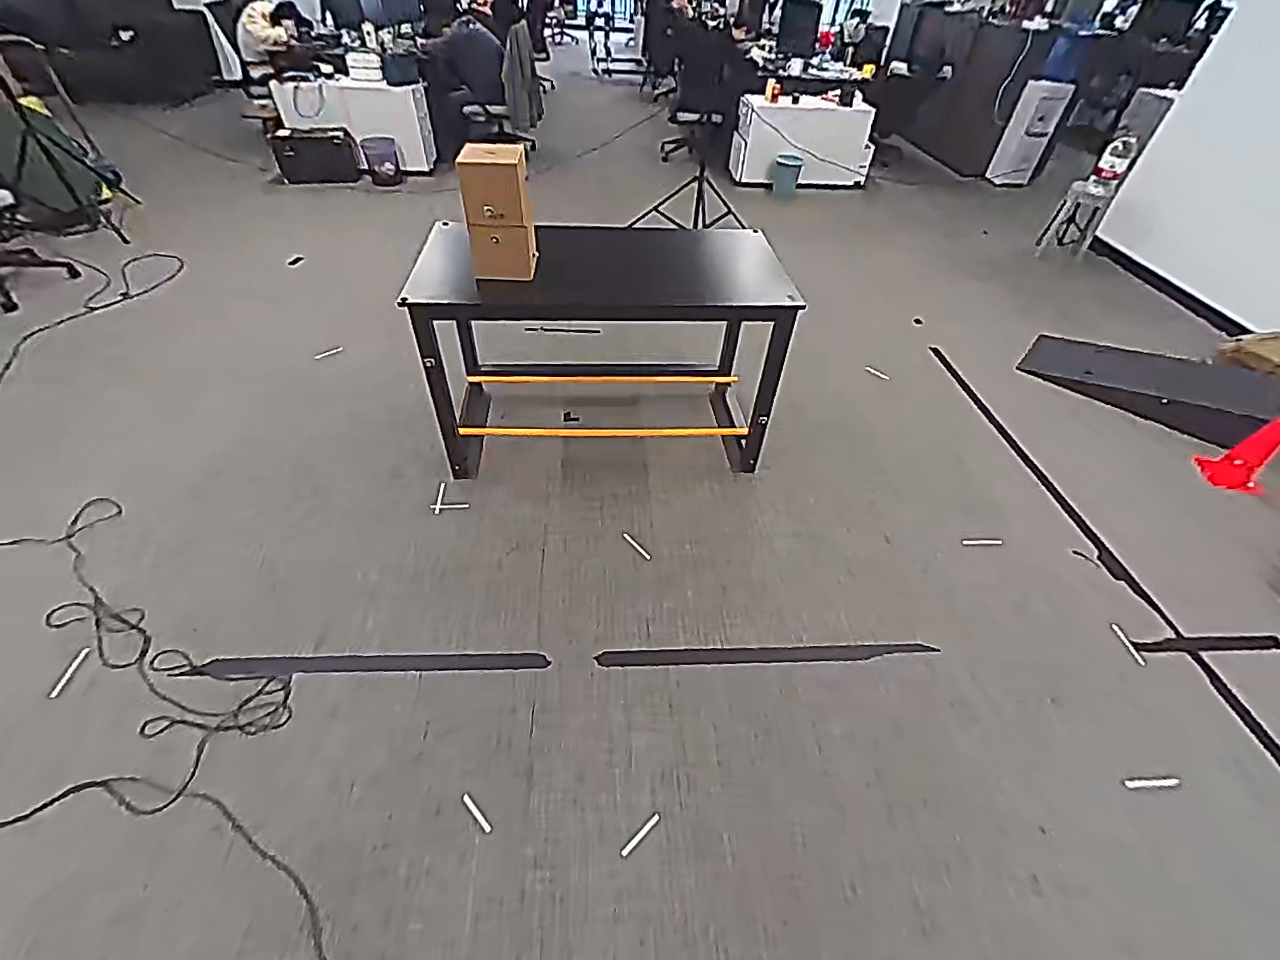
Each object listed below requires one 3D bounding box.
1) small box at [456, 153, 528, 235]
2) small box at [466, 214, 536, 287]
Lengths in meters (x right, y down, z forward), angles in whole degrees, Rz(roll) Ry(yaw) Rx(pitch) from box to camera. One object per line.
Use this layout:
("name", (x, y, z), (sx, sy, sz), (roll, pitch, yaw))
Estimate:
("small box", (-0.421, -0.831, 1.569), (0.168, 0.176, 0.179), (-2, 46, -4))
("small box", (-0.426, -0.717, 1.685), (0.179, 0.176, 0.168), (0, 45, -5))
